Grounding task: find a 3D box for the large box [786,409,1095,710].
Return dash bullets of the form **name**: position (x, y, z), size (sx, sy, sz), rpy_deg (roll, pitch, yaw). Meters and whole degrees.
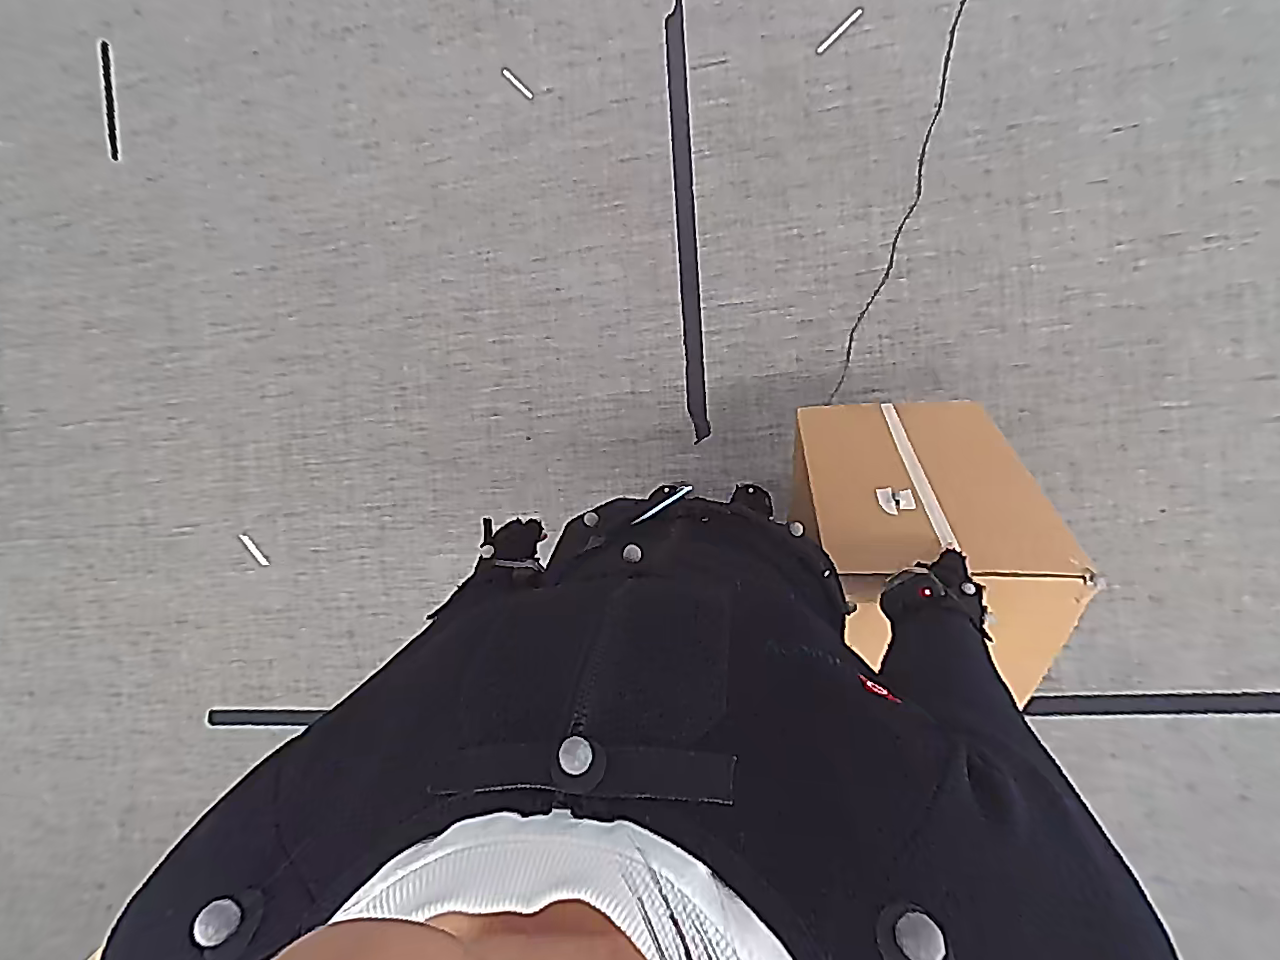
- **large box**: position (0.433, 0.117, 0.914), size (0.320, 0.408, 0.320), rpy_deg (-1, 129, 10)
